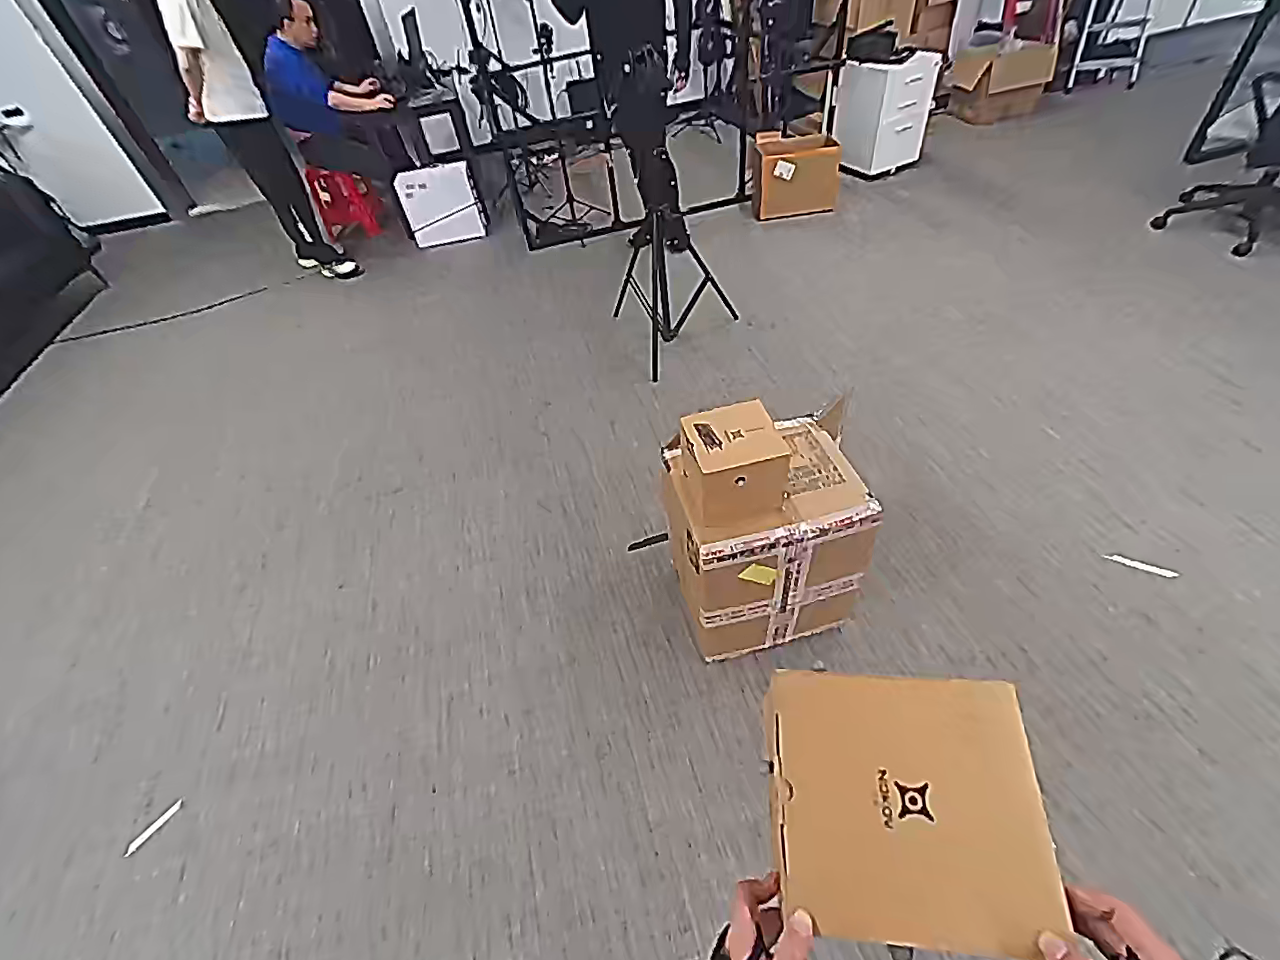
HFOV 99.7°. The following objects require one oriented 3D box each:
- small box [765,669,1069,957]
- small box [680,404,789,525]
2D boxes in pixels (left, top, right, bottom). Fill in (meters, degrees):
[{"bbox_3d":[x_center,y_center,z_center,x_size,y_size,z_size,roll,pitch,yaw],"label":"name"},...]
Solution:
[{"bbox_3d":[0.199,0.259,0.453,0.179,0.176,0.168,-2,62,11],"label":"small box"},{"bbox_3d":[0.192,-0.028,1.120,0.179,0.176,0.168,-13,49,-4],"label":"small box"}]
